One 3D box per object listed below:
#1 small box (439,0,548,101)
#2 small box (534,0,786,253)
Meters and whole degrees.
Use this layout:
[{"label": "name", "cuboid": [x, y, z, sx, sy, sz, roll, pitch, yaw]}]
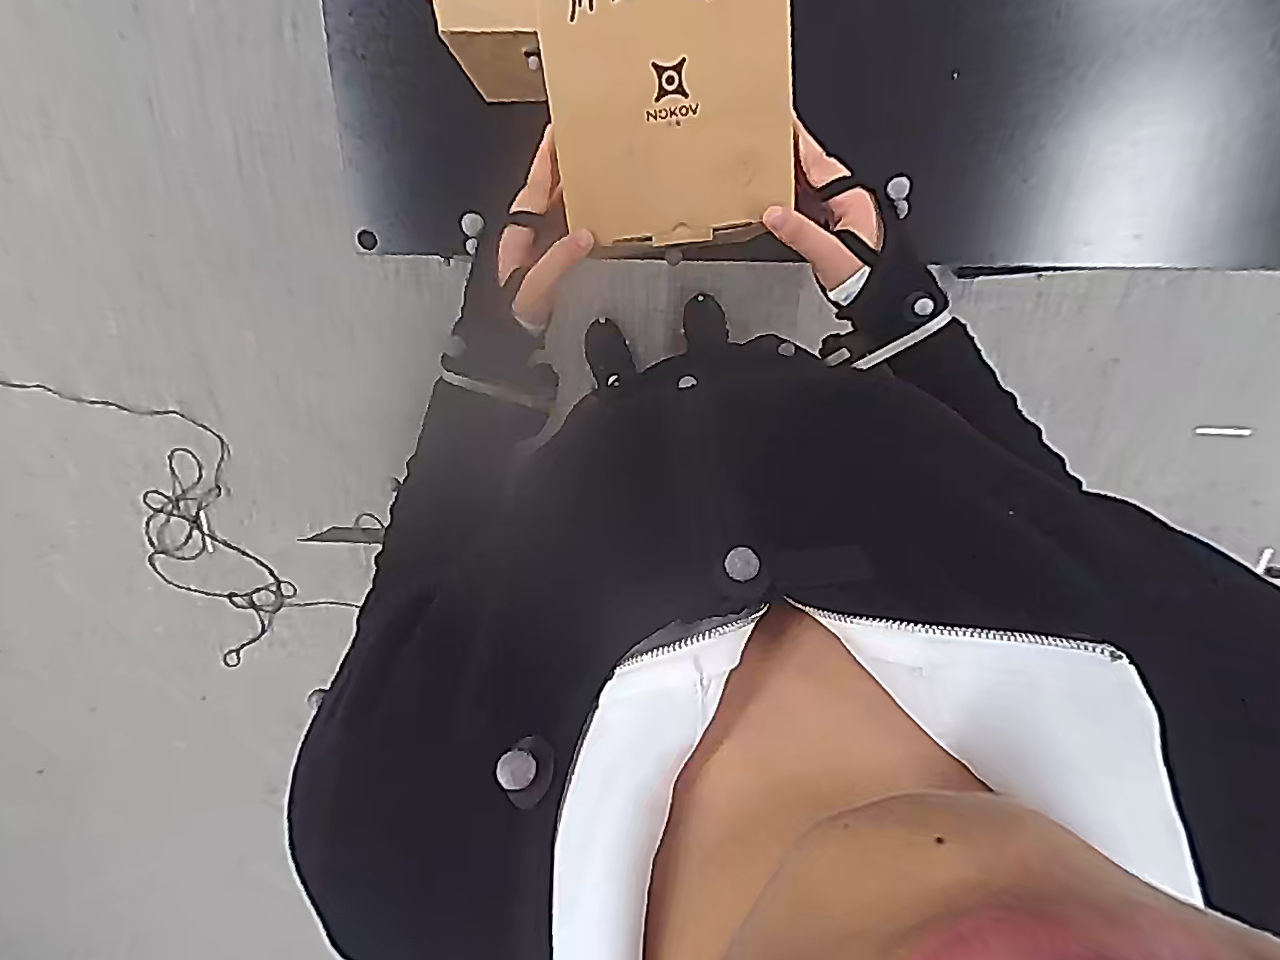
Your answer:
[{"label": "small box", "cuboid": [-0.088, -0.489, 0.522, 0.179, 0.176, 0.168, -2, 108, -1]}, {"label": "small box", "cuboid": [0.019, -0.291, 0.448, 0.168, 0.176, 0.179, -7, 111, 2]}]
